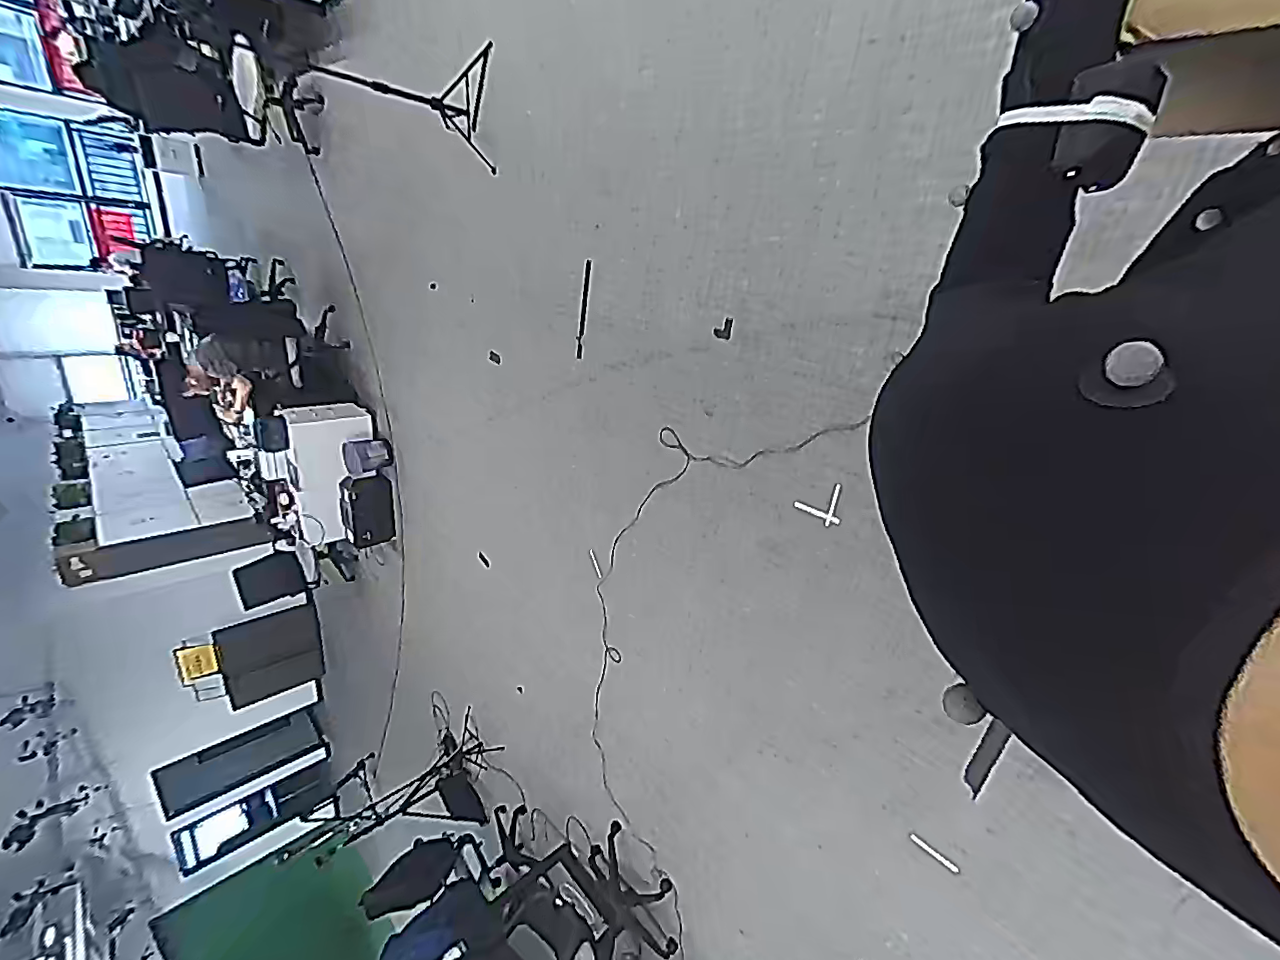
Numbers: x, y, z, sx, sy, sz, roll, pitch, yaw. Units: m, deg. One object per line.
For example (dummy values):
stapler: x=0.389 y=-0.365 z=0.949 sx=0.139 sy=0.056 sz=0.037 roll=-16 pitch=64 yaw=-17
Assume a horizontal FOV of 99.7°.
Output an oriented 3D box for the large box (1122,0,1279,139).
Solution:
large box: x=0.569 y=-0.406 z=0.288 sx=0.408 sy=0.320 sz=0.320 roll=22 pitch=119 yaw=37
